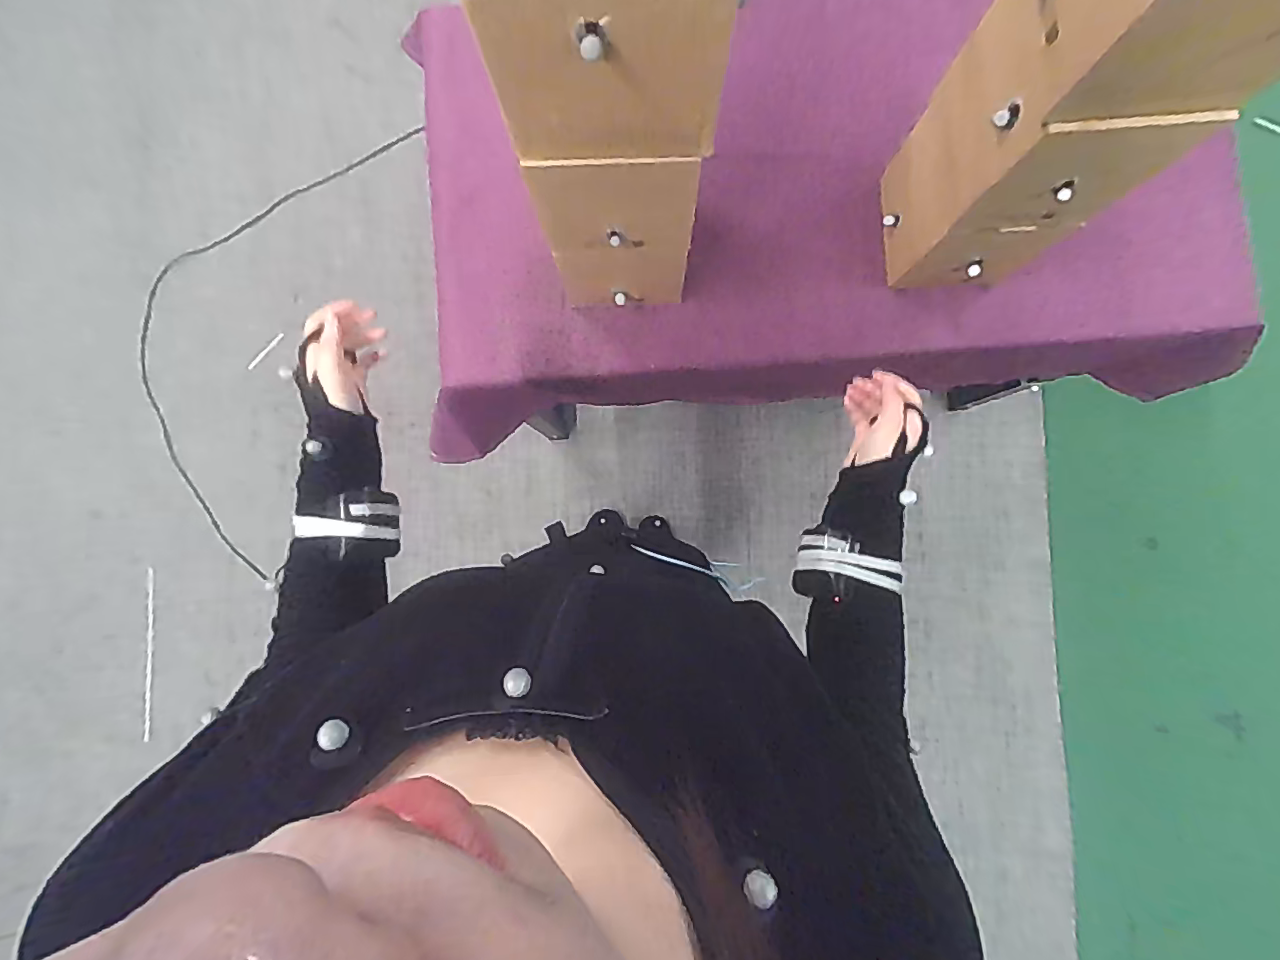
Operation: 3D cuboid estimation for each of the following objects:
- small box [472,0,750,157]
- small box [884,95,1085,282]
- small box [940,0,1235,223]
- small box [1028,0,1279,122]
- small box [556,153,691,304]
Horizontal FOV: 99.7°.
[{"bbox_3d":[-0.016,-0.372,0.405,0.179,0.176,0.168,0,88,2],"label":"small box"},{"bbox_3d":[0.446,-0.378,0.725,0.168,0.176,0.179,-2,88,1],"label":"small box"},{"bbox_3d":[0.439,-0.387,0.560,0.168,0.176,0.179,-3,87,1],"label":"small box"},{"bbox_3d":[0.431,-0.401,0.398,0.179,0.176,0.168,-3,86,2],"label":"small box"},{"bbox_3d":[-0.020,-0.355,0.733,0.168,0.176,0.179,-1,88,1],"label":"small box"}]
